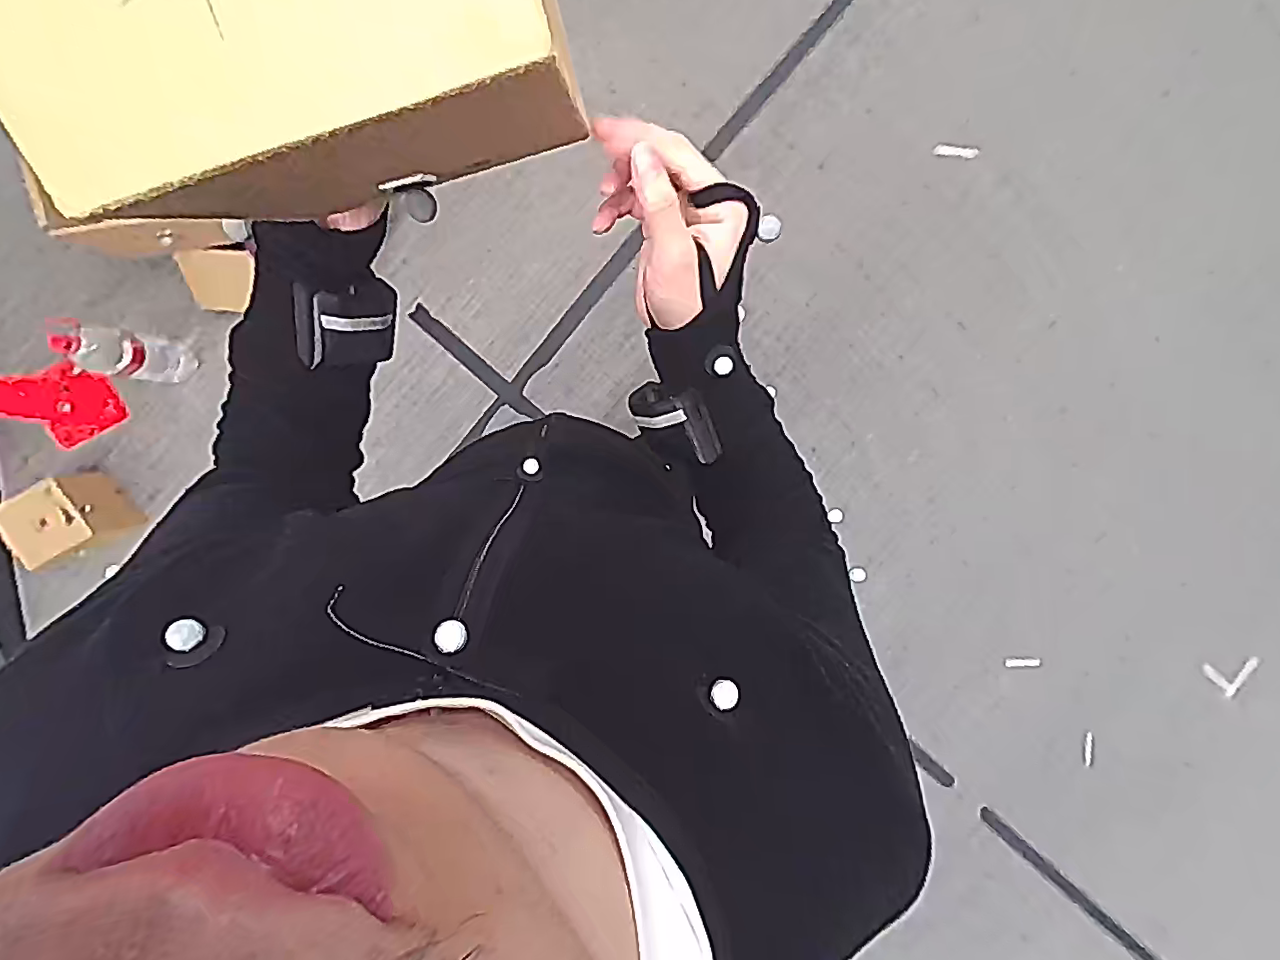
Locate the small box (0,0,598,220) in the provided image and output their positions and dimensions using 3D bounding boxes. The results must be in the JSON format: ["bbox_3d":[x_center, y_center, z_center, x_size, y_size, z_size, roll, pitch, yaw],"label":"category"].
[{"bbox_3d":[-0.119,-0.217,0.216,0.168,0.176,0.179,-13,115,6],"label":"small box"}]
